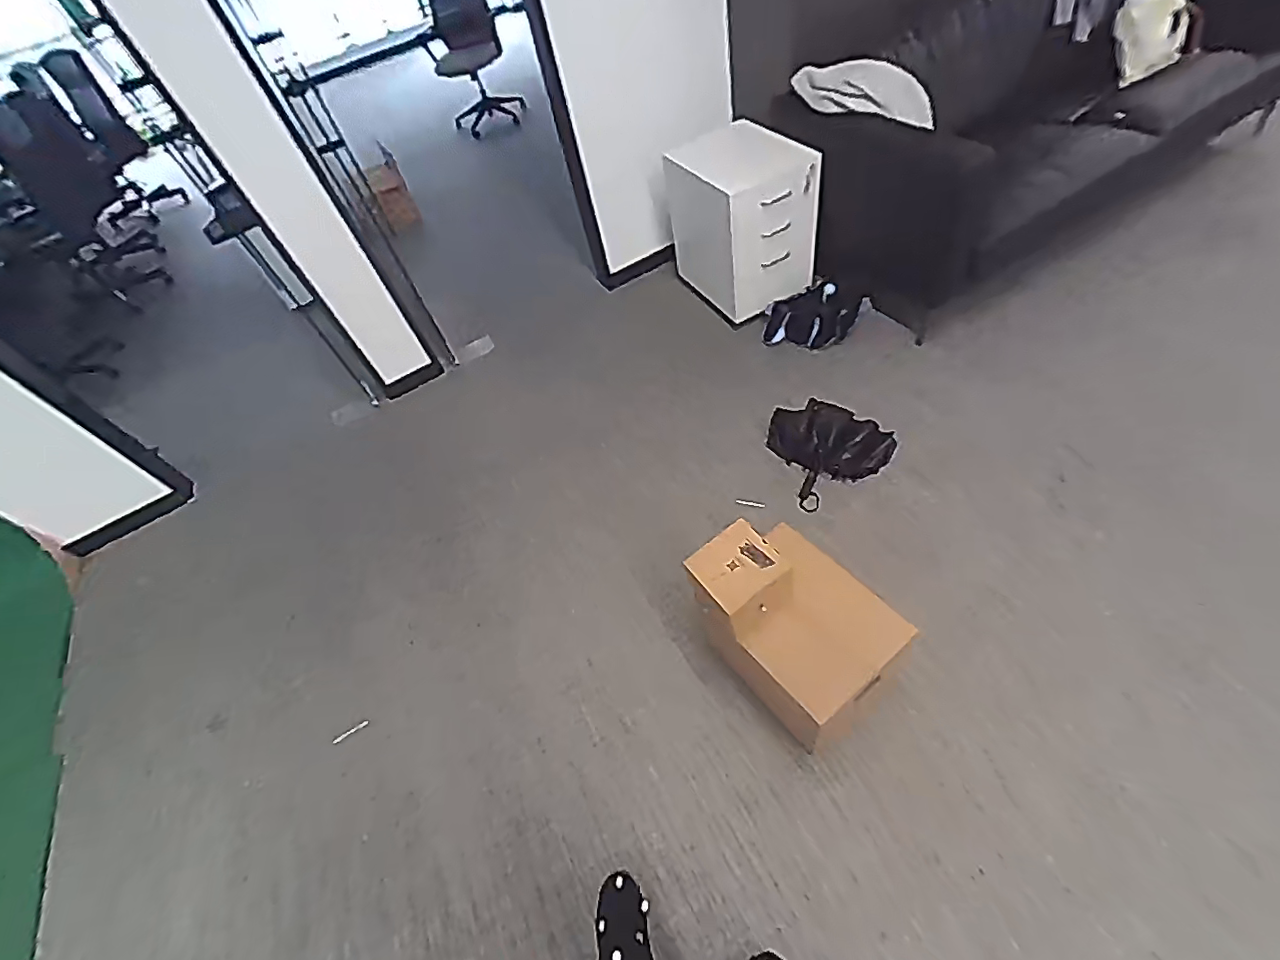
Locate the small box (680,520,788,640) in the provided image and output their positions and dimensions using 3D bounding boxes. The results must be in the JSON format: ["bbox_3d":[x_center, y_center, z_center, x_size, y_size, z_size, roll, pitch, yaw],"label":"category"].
[{"bbox_3d":[0.216,0.230,1.232,0.179,0.176,0.168,-35,53,-11],"label":"small box"}]
